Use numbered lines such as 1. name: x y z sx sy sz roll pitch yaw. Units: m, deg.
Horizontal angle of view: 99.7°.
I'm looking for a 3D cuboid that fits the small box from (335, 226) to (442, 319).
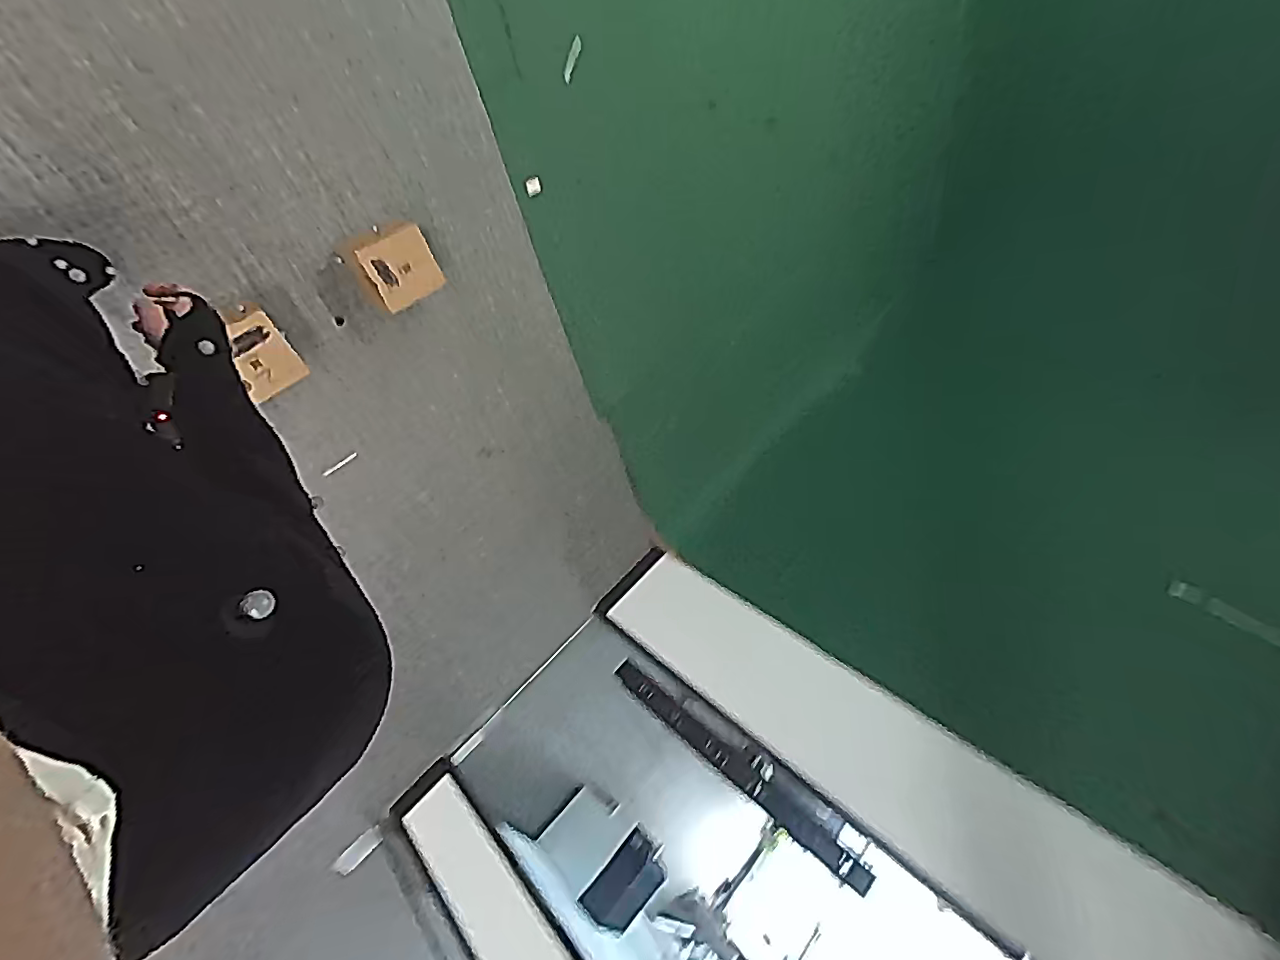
1. small box: -0.664 -0.546 1.413 0.179 0.176 0.168 -43 139 -24
